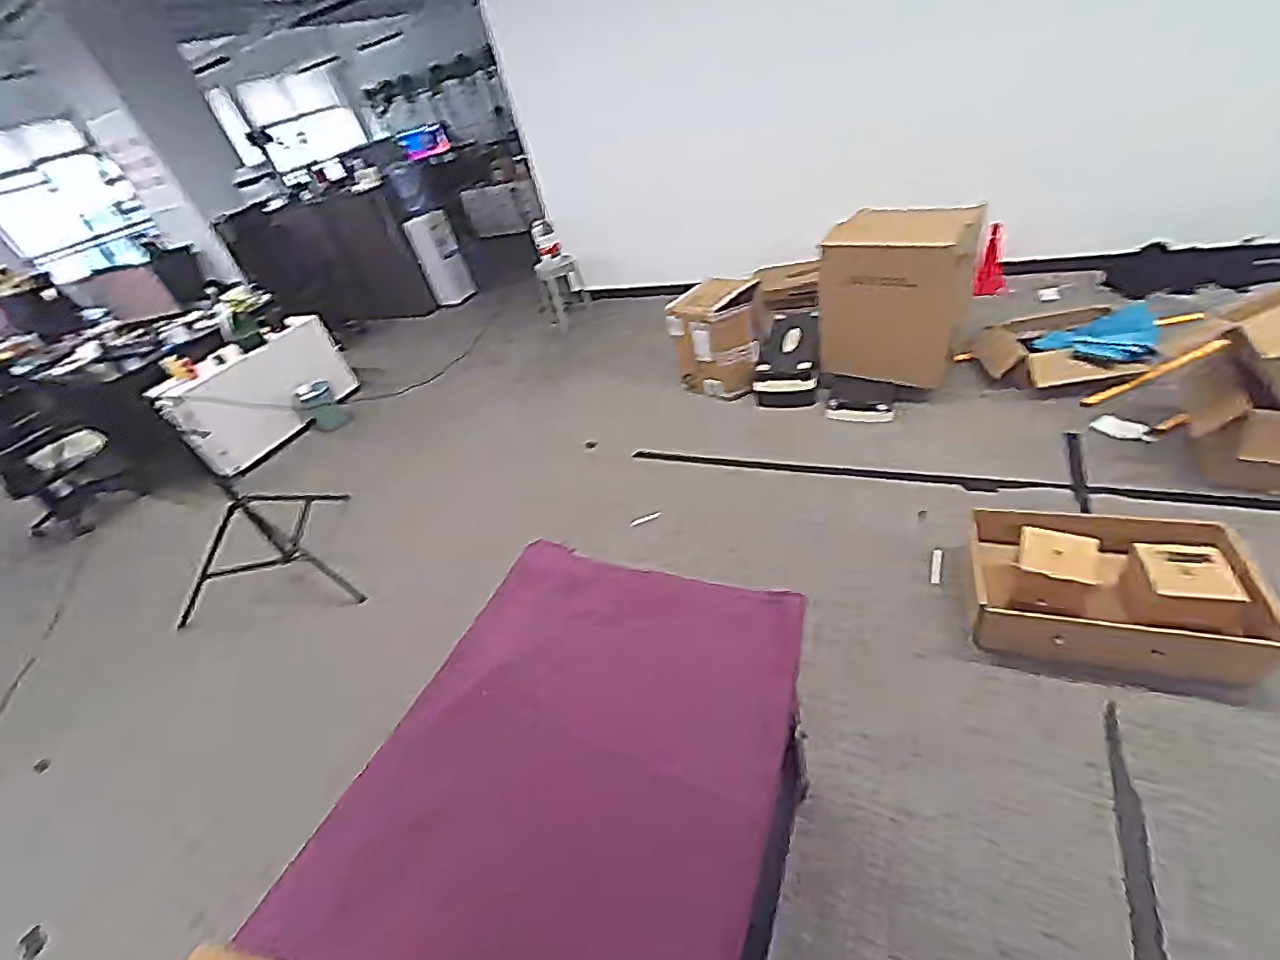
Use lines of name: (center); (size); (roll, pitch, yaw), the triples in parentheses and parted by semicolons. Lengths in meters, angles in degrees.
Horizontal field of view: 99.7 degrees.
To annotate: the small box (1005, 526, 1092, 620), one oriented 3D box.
small box: (1.155, 0.262, 1.533); (0.168, 0.176, 0.179); (12, 46, 30)
